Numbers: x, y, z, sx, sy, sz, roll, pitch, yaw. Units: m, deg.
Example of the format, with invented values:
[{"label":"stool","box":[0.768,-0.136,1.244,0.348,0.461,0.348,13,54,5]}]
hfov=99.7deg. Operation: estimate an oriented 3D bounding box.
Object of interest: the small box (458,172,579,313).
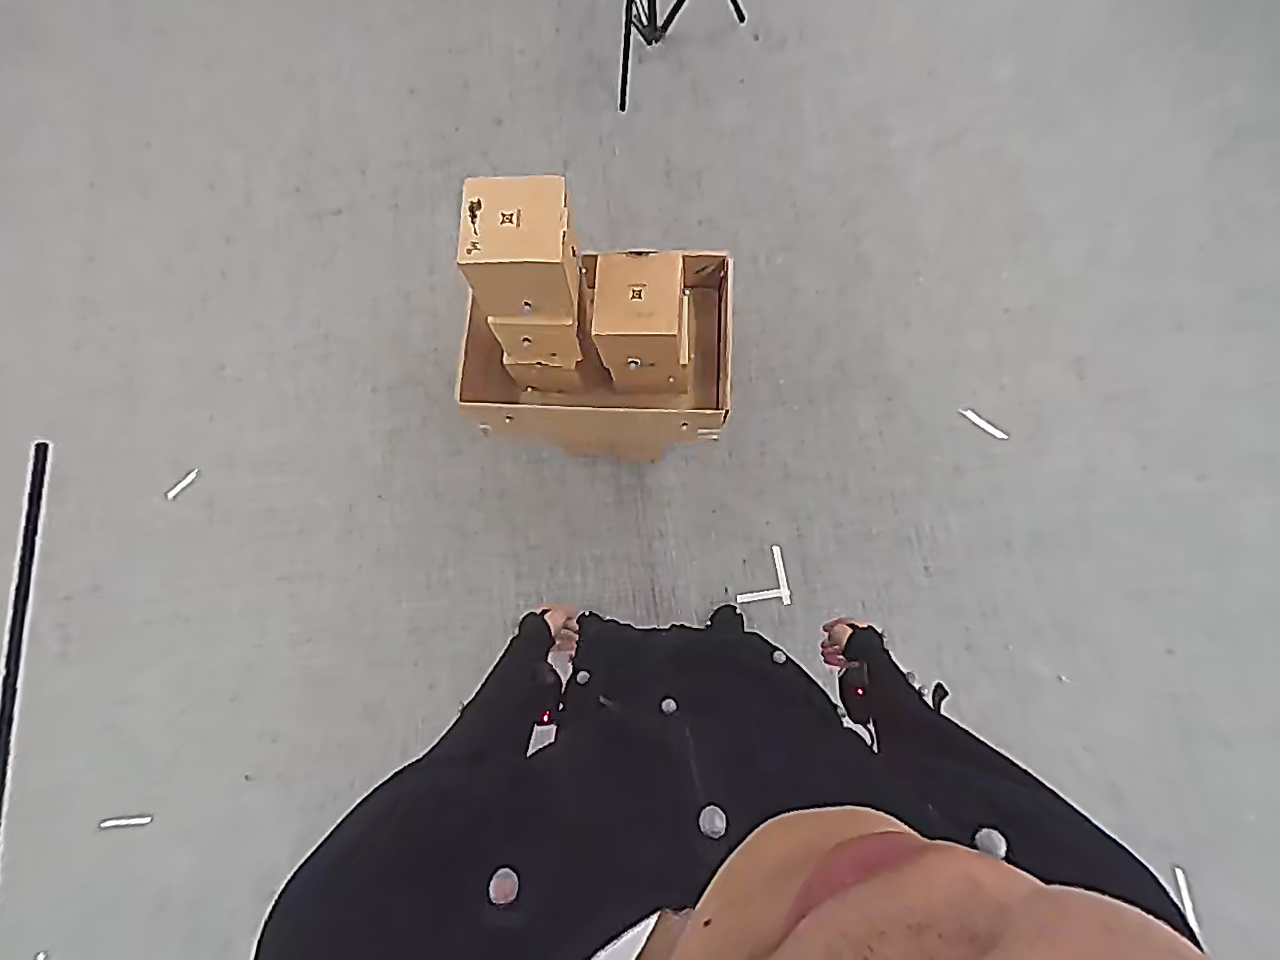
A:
[{"label":"small box","box":[-0.205,-0.415,0.965,0.179,0.176,0.168,1,77,1]}]

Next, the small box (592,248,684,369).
[{"label":"small box","box":[0.004,-0.344,1.101,0.168,0.176,0.179,2,78,6]}]

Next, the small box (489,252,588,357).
[{"label":"small box","box":[-0.202,-0.370,1.123,0.168,0.176,0.179,2,77,1]}]
